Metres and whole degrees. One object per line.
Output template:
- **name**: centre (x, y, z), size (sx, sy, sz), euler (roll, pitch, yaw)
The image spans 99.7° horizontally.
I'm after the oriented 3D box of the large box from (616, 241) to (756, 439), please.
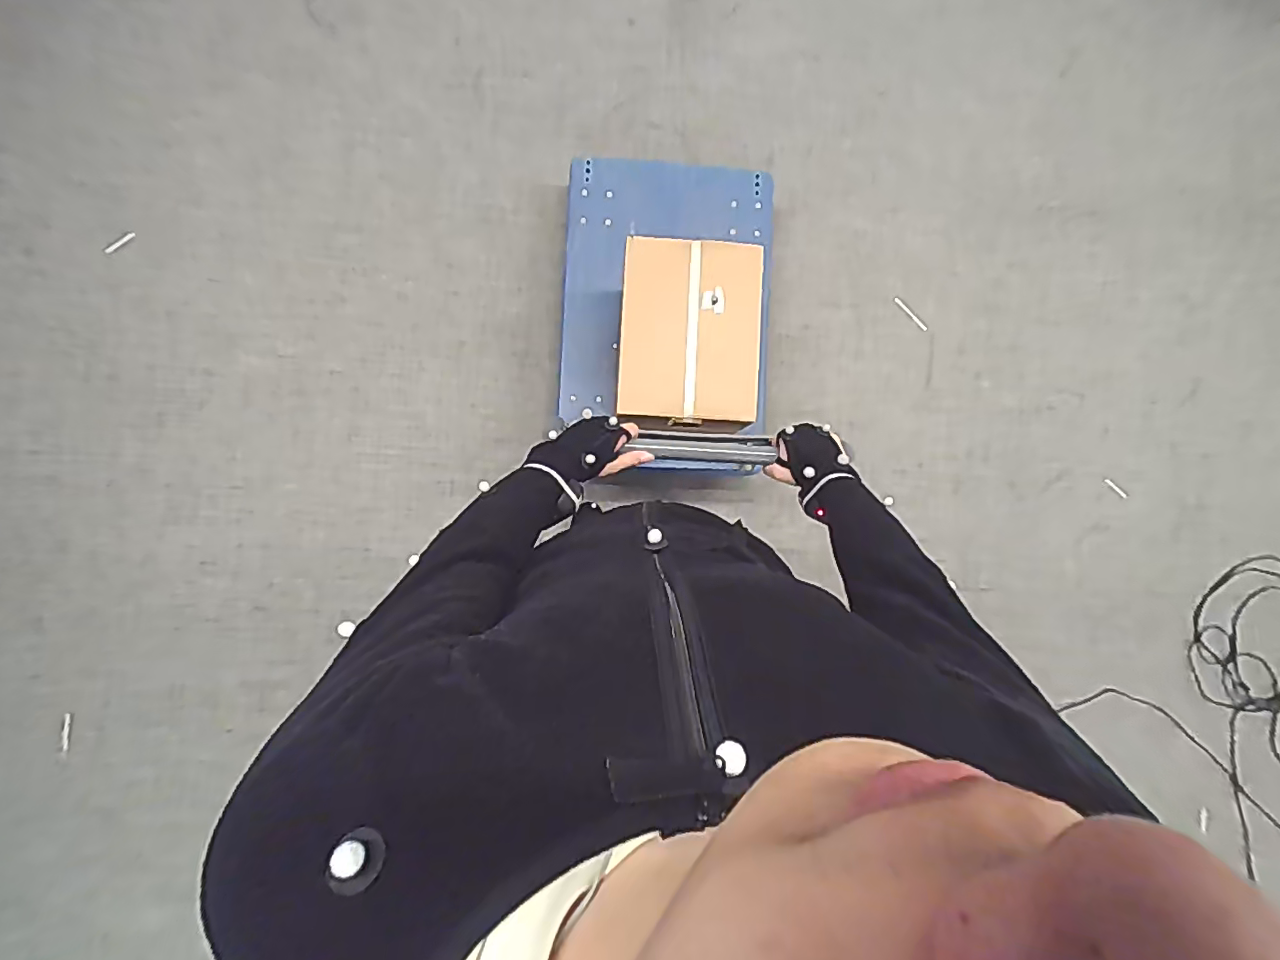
- **large box**: centre (0.098, -0.322, 1.349), size (0.320, 0.320, 0.408), euler (2, 86, -4)
